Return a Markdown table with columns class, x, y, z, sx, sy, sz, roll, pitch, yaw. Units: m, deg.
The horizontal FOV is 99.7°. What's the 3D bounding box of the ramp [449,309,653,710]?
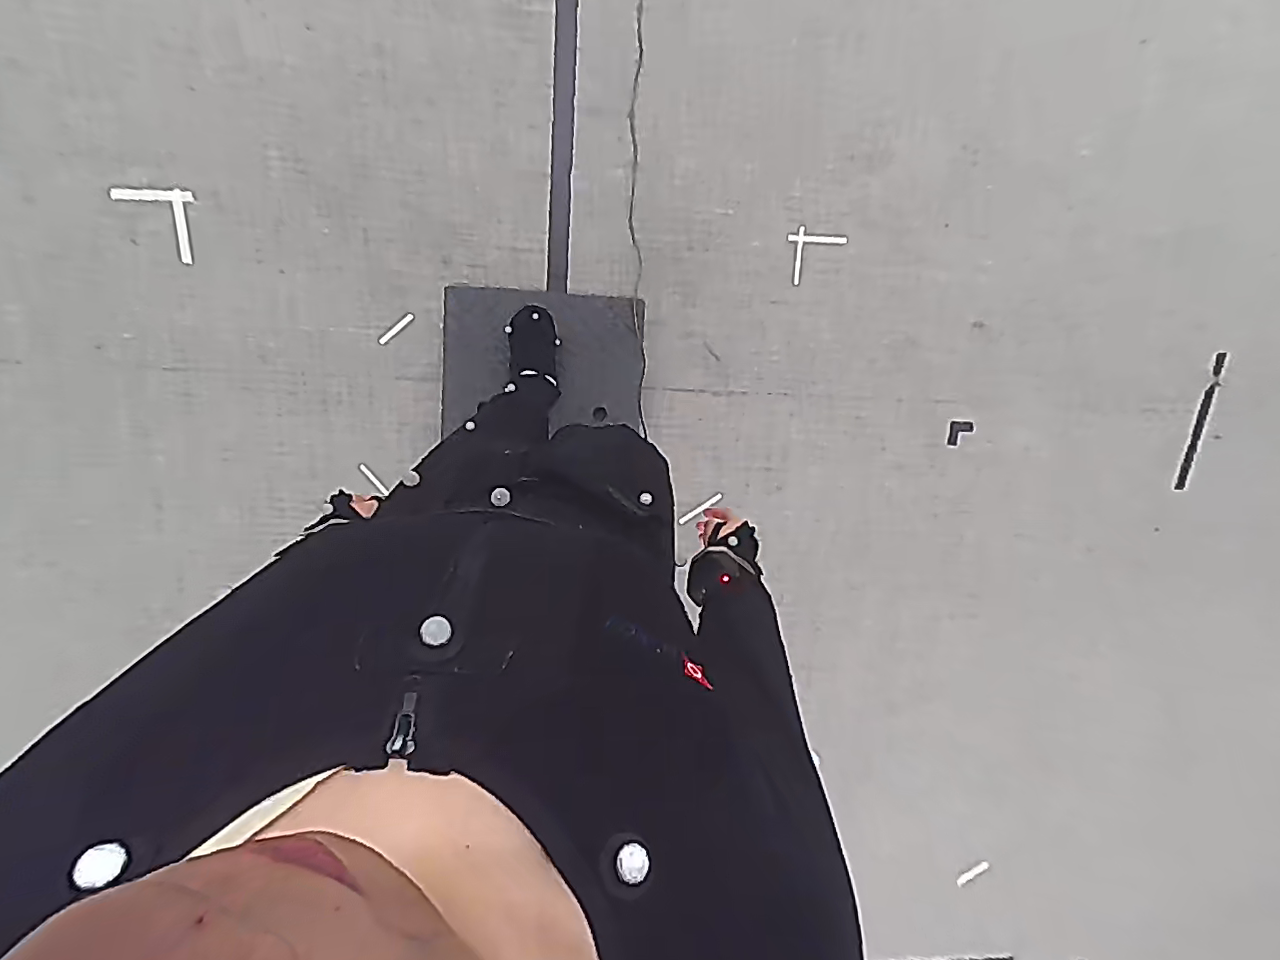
| class | x | y | z | sx | sy | sz | roll | pitch | yaw |
| --- | --- | --- | --- | --- | --- | --- | --- | --- | --- |
| ramp | -0.222 | 0.079 | 1.360 | 0.509 | 0.206 | 0.991 | 0 | 101 | -3 |
